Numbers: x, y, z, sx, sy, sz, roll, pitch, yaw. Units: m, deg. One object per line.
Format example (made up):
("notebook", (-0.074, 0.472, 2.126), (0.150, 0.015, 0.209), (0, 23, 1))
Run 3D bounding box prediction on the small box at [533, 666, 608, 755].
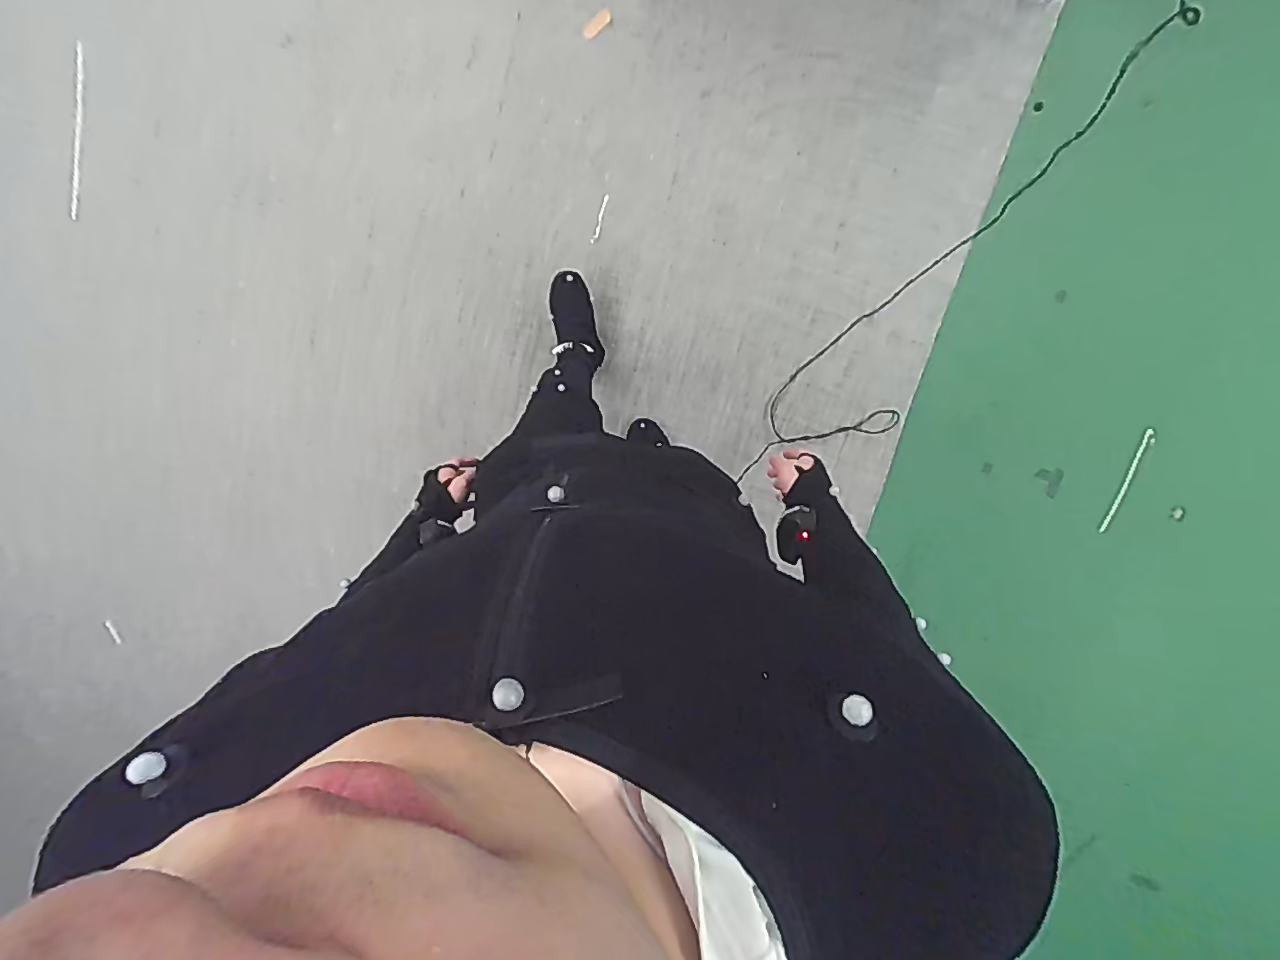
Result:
("small box", (-0.212, 0.717, 1.703), (0.179, 0.176, 0.168), (21, 102, 0))
